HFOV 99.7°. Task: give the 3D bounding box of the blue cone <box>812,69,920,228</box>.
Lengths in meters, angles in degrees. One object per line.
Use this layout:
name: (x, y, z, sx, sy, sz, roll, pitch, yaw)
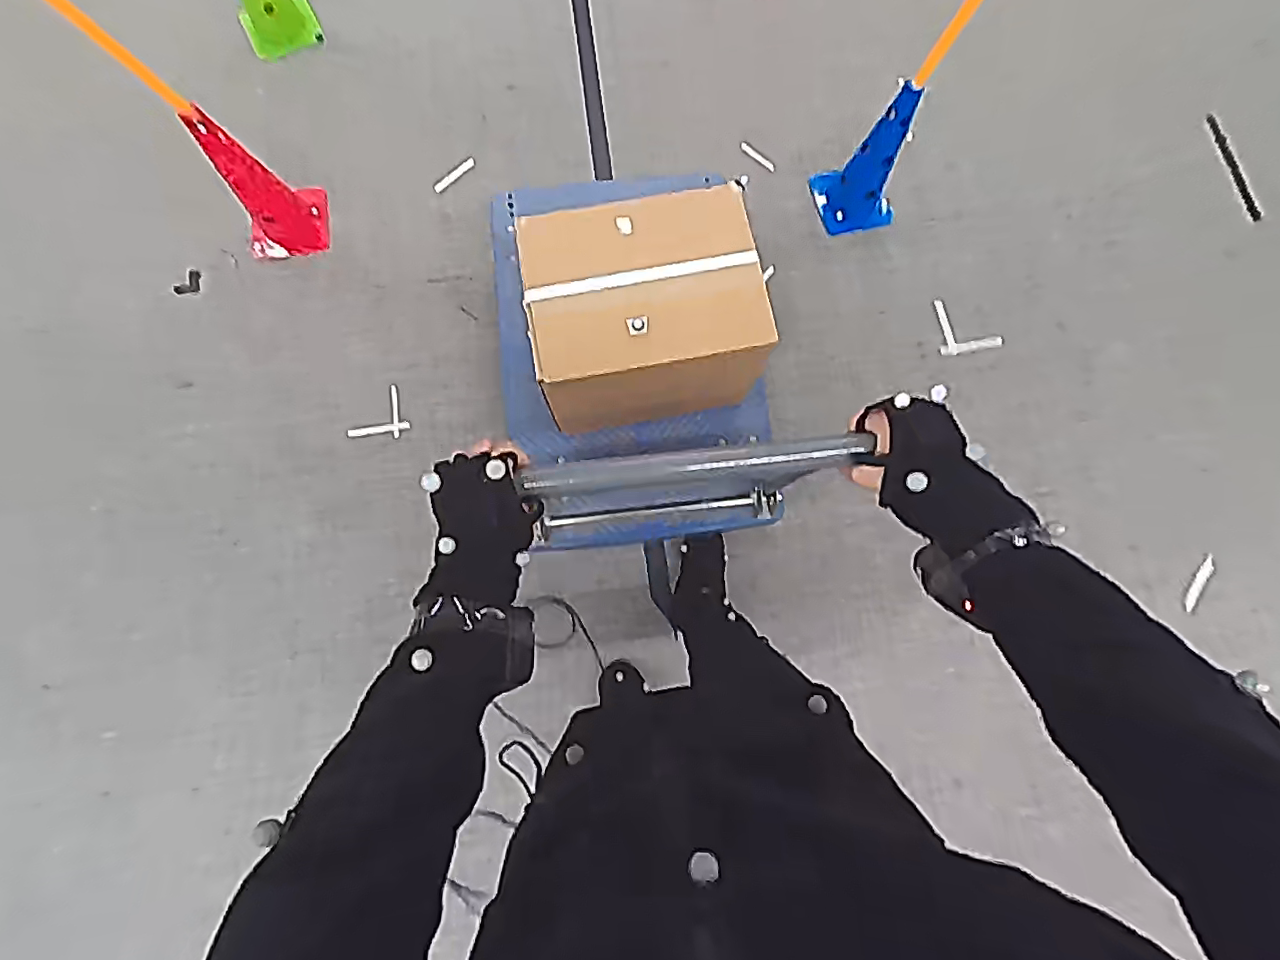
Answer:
blue cone: (0.598, -0.837, 1.364, 0.193, 0.380, 0.192, -12, 78, -4)
